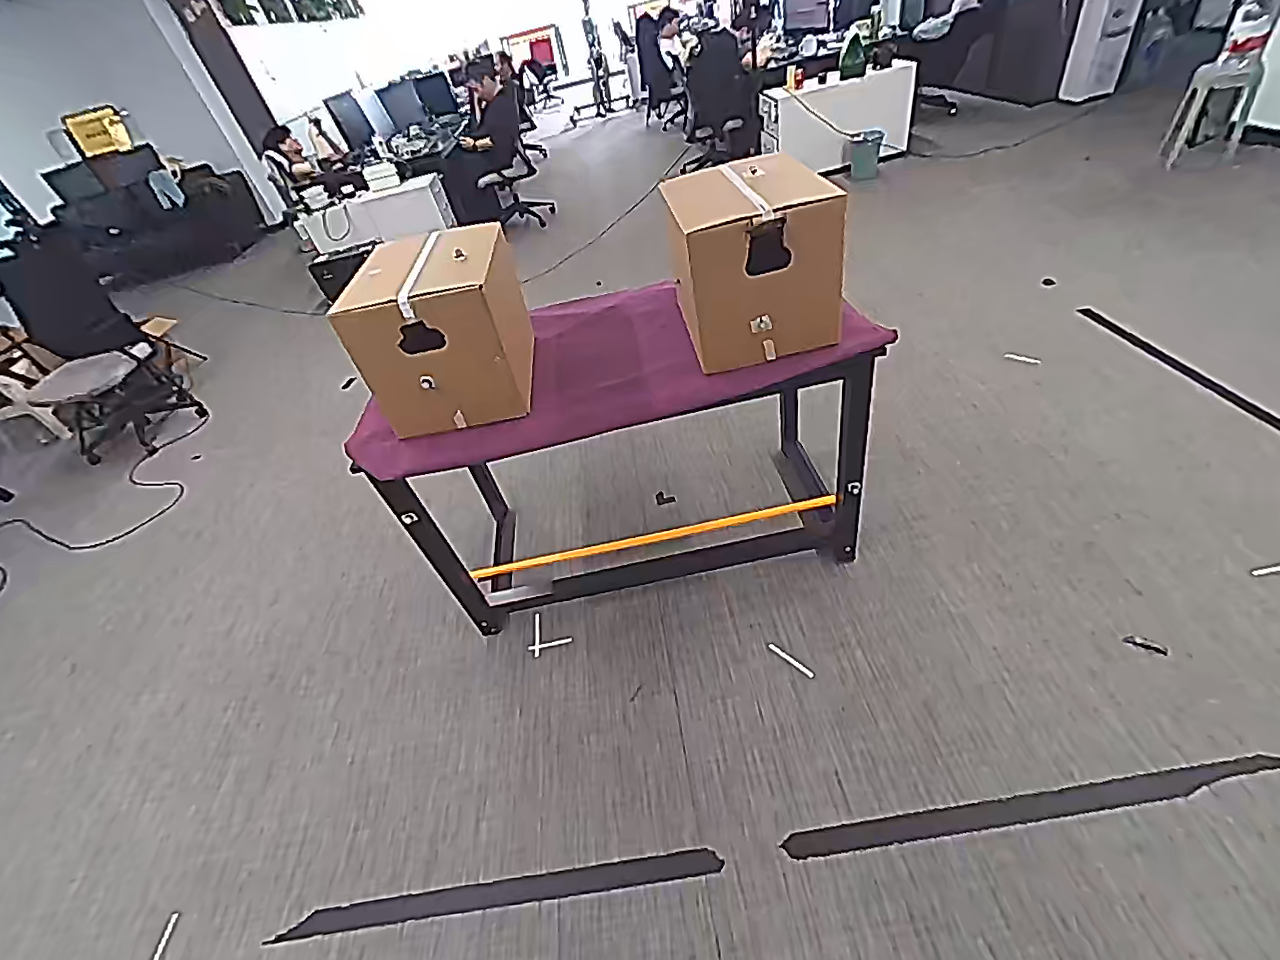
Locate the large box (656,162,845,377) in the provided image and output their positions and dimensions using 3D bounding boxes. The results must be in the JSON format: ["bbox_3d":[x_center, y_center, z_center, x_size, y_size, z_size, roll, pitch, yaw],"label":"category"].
[{"bbox_3d":[0.241,-0.494,1.251,0.320,0.320,0.408,-13,40,2],"label":"large box"}]
